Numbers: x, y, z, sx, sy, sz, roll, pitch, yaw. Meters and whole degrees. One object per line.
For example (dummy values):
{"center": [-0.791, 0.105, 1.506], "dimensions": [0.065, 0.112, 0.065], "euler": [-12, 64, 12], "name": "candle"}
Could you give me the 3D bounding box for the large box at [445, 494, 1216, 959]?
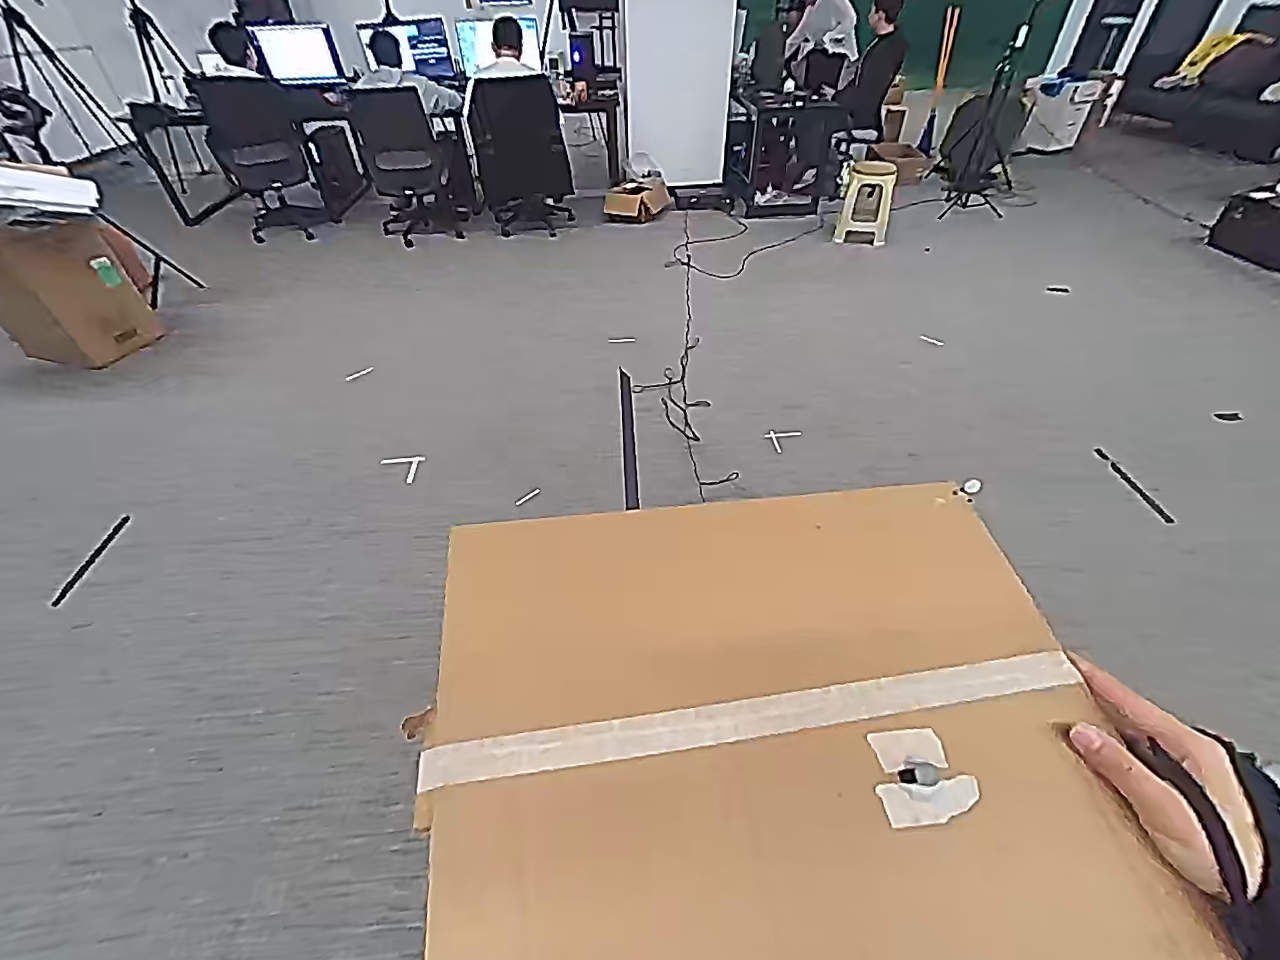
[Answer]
{"center": [0.073, 0.241, 0.455], "dimensions": [0.408, 0.320, 0.320], "euler": [-5, 54, -9], "name": "large box"}
